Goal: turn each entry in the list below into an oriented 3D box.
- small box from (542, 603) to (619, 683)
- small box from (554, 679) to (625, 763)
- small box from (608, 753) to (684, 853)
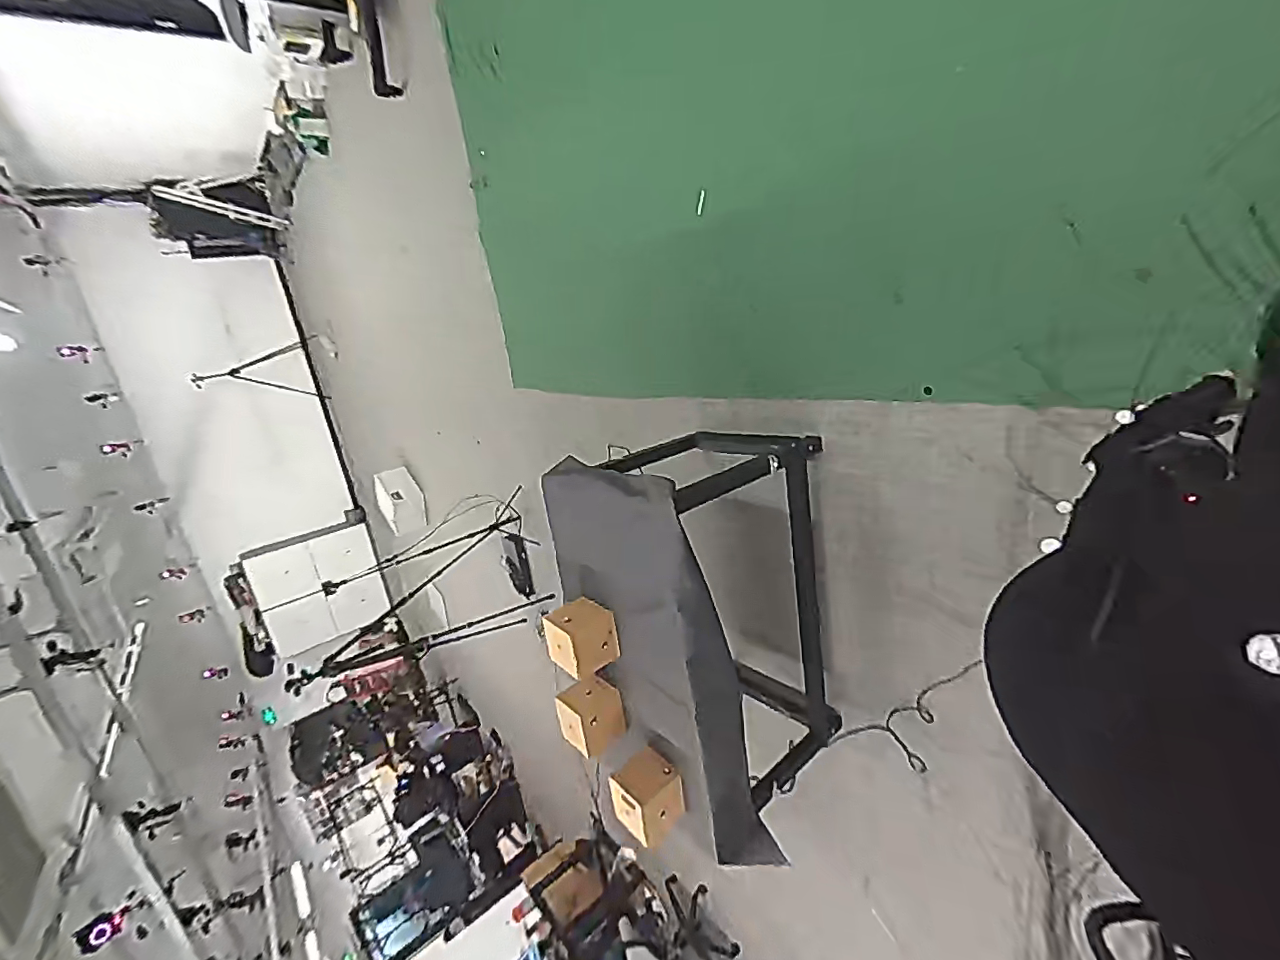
[{"bbox_3d":[-0.192,0.520,1.758,0.179,0.176,0.168,12,115,49],"label":"small box"},{"bbox_3d":[-0.172,0.826,1.873,0.168,0.176,0.179,10,115,49],"label":"small box"},{"bbox_3d":[0.023,1.013,1.714,0.168,0.176,0.179,15,118,49],"label":"small box"}]
